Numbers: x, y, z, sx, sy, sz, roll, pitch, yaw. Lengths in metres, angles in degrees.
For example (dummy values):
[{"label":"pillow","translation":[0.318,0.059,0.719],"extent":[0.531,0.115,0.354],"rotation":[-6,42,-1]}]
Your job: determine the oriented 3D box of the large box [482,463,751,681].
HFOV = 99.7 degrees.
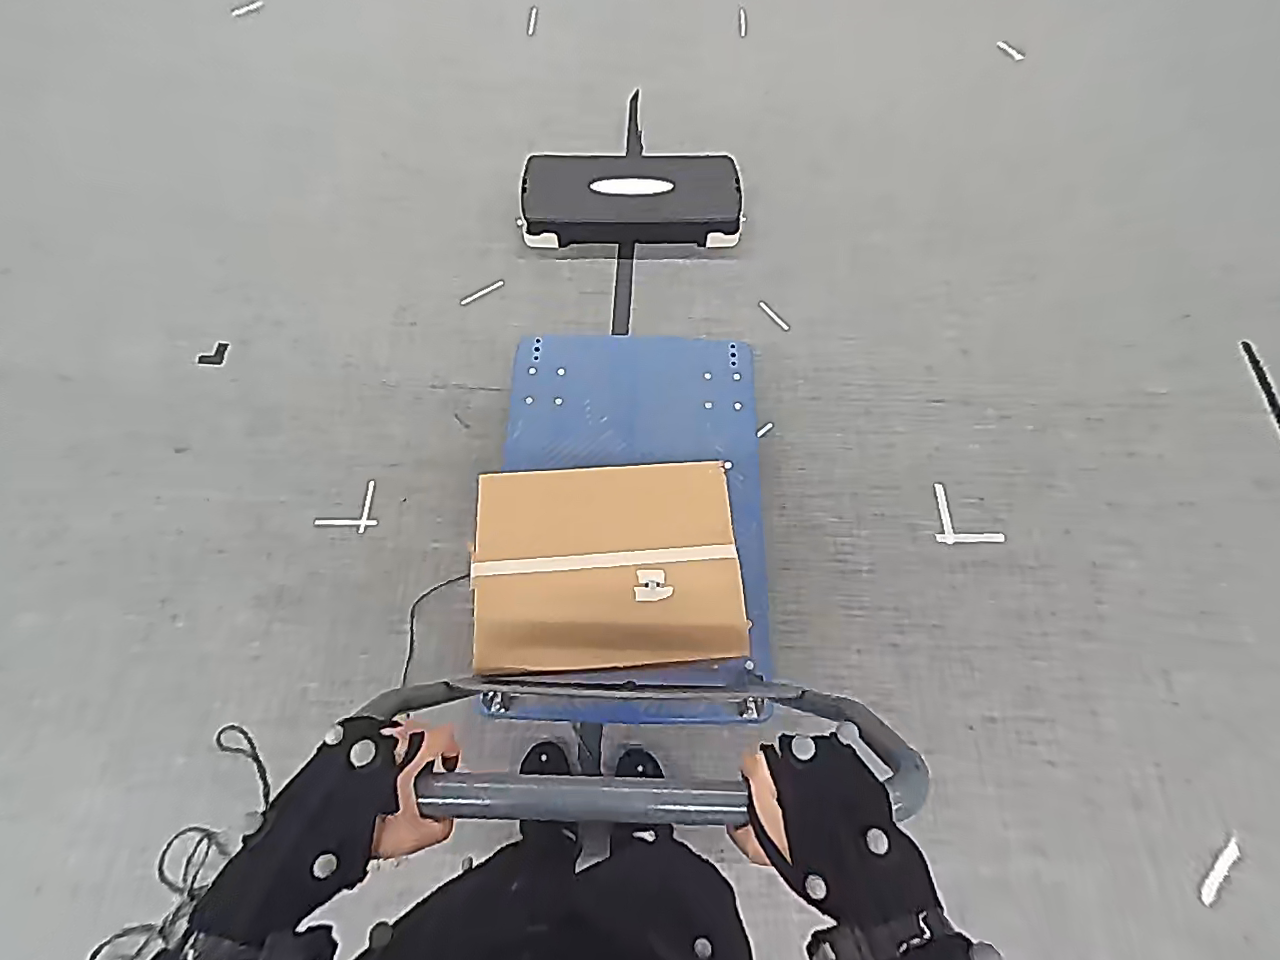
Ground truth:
[{"label":"large box","translation":[-0.051,0.180,0.979],"extent":[0.408,0.320,0.320],"rotation":[-3,69,-4]}]
